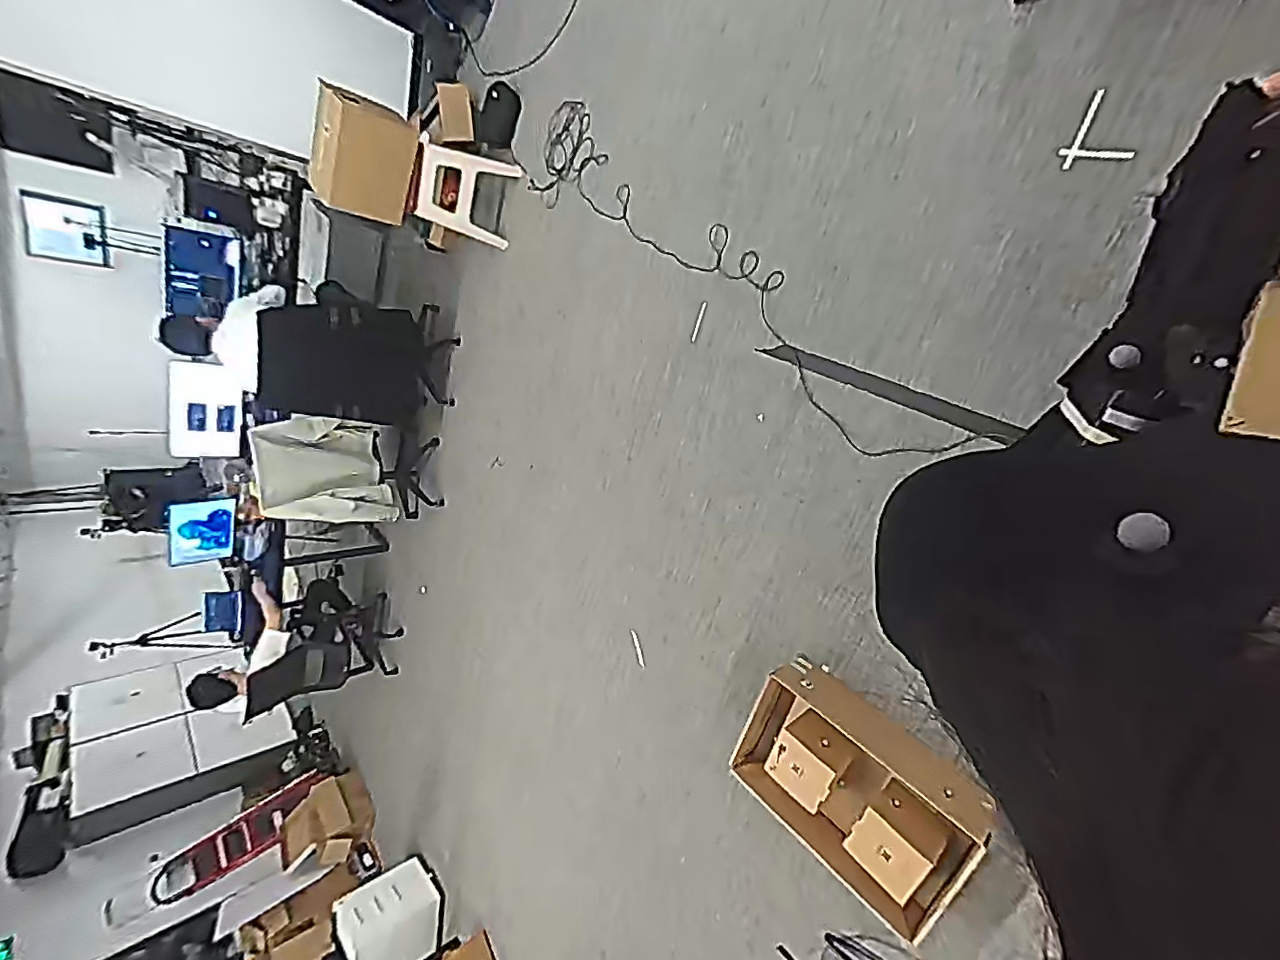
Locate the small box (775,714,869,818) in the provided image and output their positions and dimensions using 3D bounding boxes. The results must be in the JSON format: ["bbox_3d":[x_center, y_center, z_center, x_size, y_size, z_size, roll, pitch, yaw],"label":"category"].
[{"bbox_3d":[0.529,0.814,1.562,0.179,0.176,0.168,32,115,37],"label":"small box"}]

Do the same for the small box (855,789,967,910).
[{"bbox_3d":[0.701,0.938,1.399,0.179,0.176,0.168,36,118,38],"label":"small box"}]
